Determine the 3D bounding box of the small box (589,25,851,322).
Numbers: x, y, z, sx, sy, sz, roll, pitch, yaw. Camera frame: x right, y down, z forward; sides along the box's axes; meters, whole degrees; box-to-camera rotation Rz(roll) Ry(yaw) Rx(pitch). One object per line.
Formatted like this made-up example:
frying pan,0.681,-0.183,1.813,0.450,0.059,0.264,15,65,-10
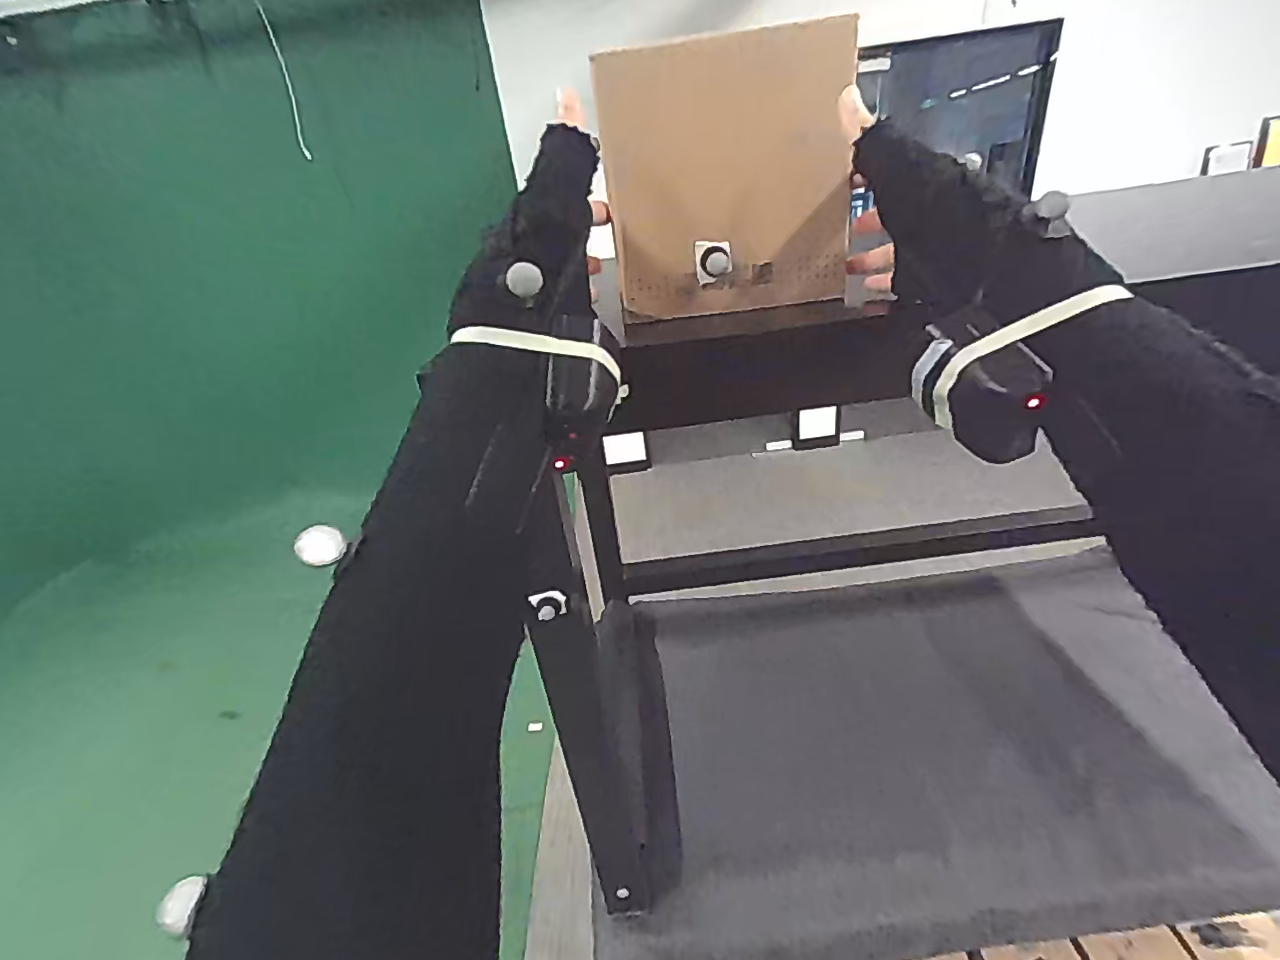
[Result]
small box,0.057,-0.234,0.443,0.168,0.176,0.179,-7,28,3
